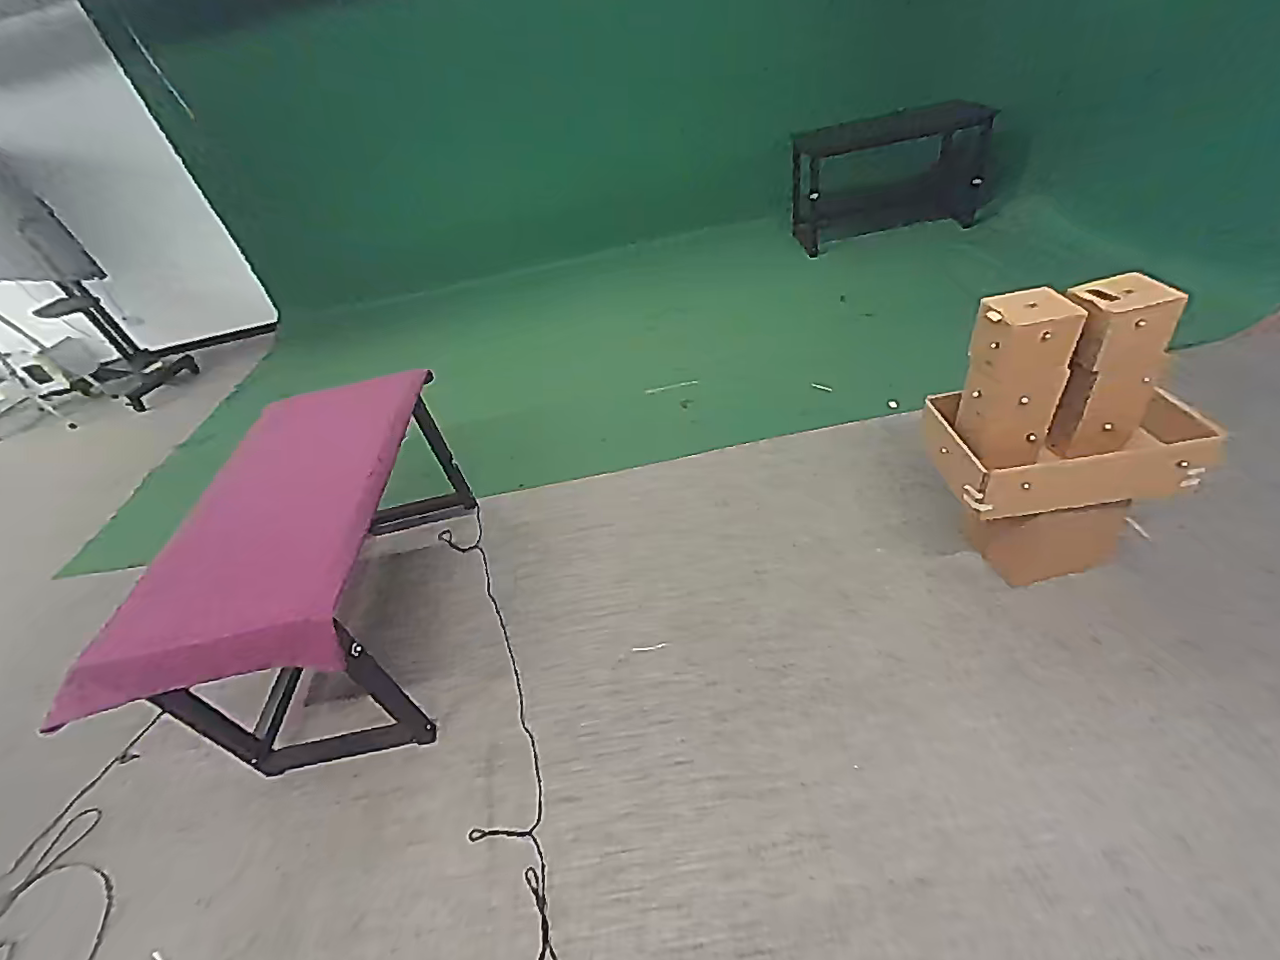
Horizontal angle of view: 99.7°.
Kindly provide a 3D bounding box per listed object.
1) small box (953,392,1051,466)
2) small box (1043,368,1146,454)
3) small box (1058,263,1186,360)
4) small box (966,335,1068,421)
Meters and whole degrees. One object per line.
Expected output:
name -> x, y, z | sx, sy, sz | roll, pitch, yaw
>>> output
small box -> 1.086, -0.165, 1.640 | 0.179, 0.176, 0.168 | -9, 41, 6
small box -> 1.335, -0.204, 1.618 | 0.179, 0.176, 0.168 | -13, 41, 7
small box -> 1.234, -0.435, 1.405 | 0.179, 0.176, 0.168 | -14, 41, 5
small box -> 1.055, -0.285, 1.534 | 0.179, 0.176, 0.168 | -10, 41, 6
